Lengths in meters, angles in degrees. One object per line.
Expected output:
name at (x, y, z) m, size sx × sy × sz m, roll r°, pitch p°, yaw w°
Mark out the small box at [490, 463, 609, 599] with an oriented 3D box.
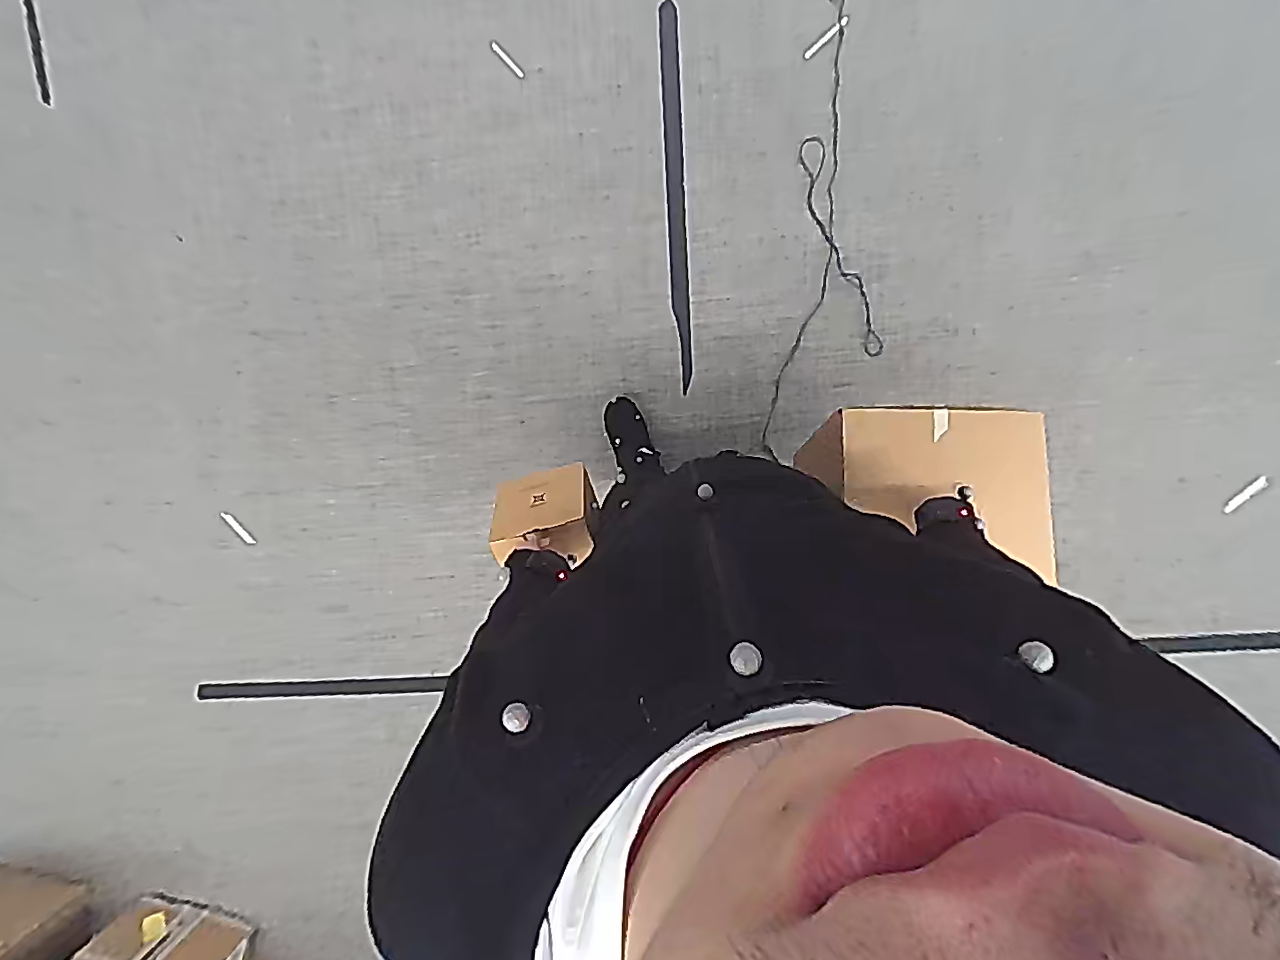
small box at (-0.158, 0.100, 0.996) m, size 0.168 × 0.179 × 0.176 m, roll -14°, pitch 123°, yaw 3°
